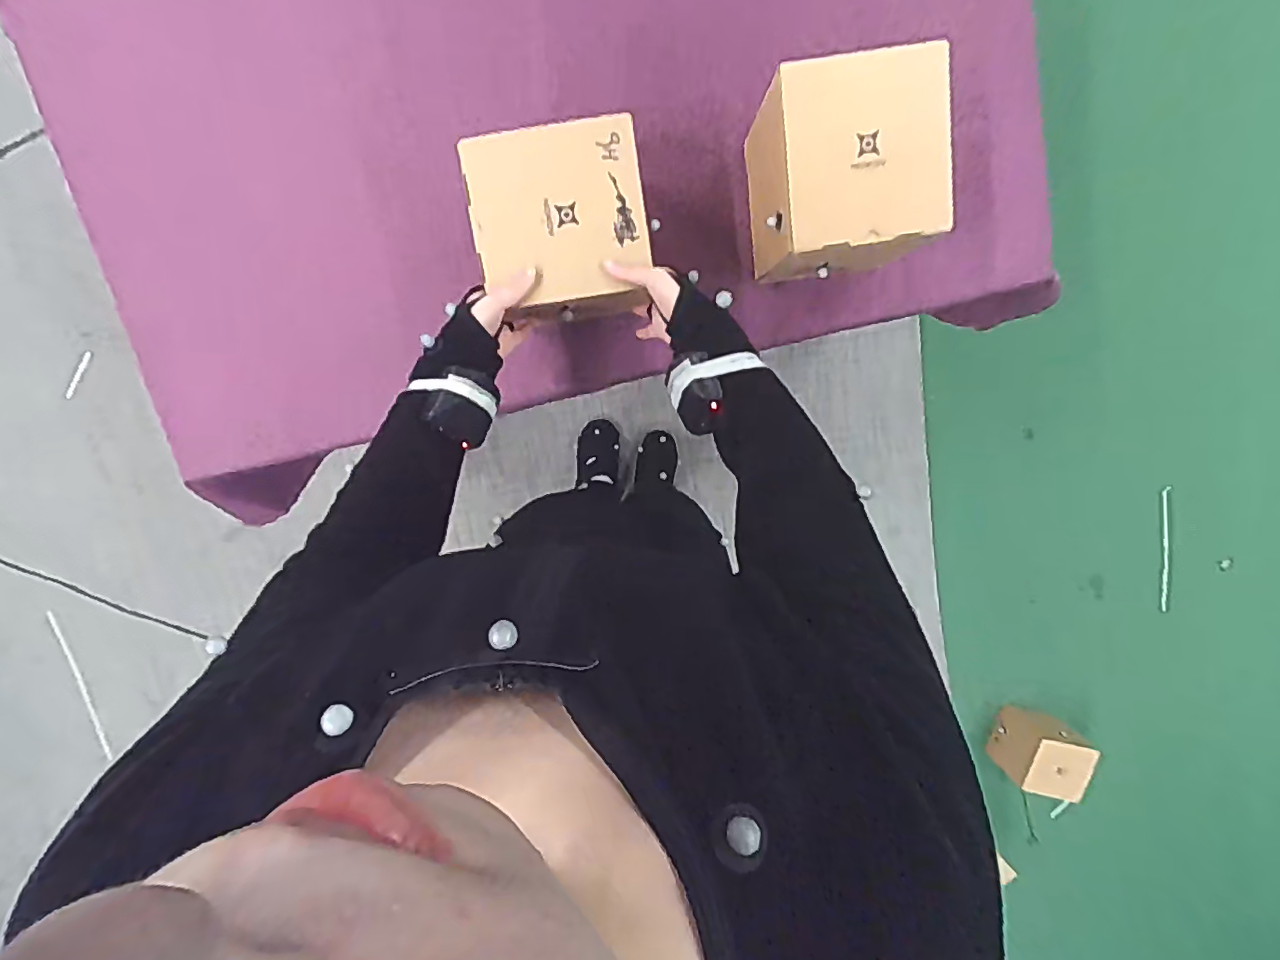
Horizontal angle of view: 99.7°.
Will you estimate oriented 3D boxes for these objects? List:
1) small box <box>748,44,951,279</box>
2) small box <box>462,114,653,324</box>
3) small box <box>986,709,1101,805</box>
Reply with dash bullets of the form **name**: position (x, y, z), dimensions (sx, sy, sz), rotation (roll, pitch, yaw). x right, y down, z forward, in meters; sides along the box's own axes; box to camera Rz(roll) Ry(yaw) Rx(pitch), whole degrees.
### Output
- **small box**: position (0.226, -0.344, 0.618), dimensions (0.168, 0.176, 0.179), rotation (-7, 101, 1)
- **small box**: position (-0.080, -0.282, 0.624), dimensions (0.179, 0.176, 0.168), rotation (-8, 100, 2)
- **small box**: position (1.157, 0.793, 1.564), dimensions (0.179, 0.176, 0.168), rotation (14, 99, -3)
